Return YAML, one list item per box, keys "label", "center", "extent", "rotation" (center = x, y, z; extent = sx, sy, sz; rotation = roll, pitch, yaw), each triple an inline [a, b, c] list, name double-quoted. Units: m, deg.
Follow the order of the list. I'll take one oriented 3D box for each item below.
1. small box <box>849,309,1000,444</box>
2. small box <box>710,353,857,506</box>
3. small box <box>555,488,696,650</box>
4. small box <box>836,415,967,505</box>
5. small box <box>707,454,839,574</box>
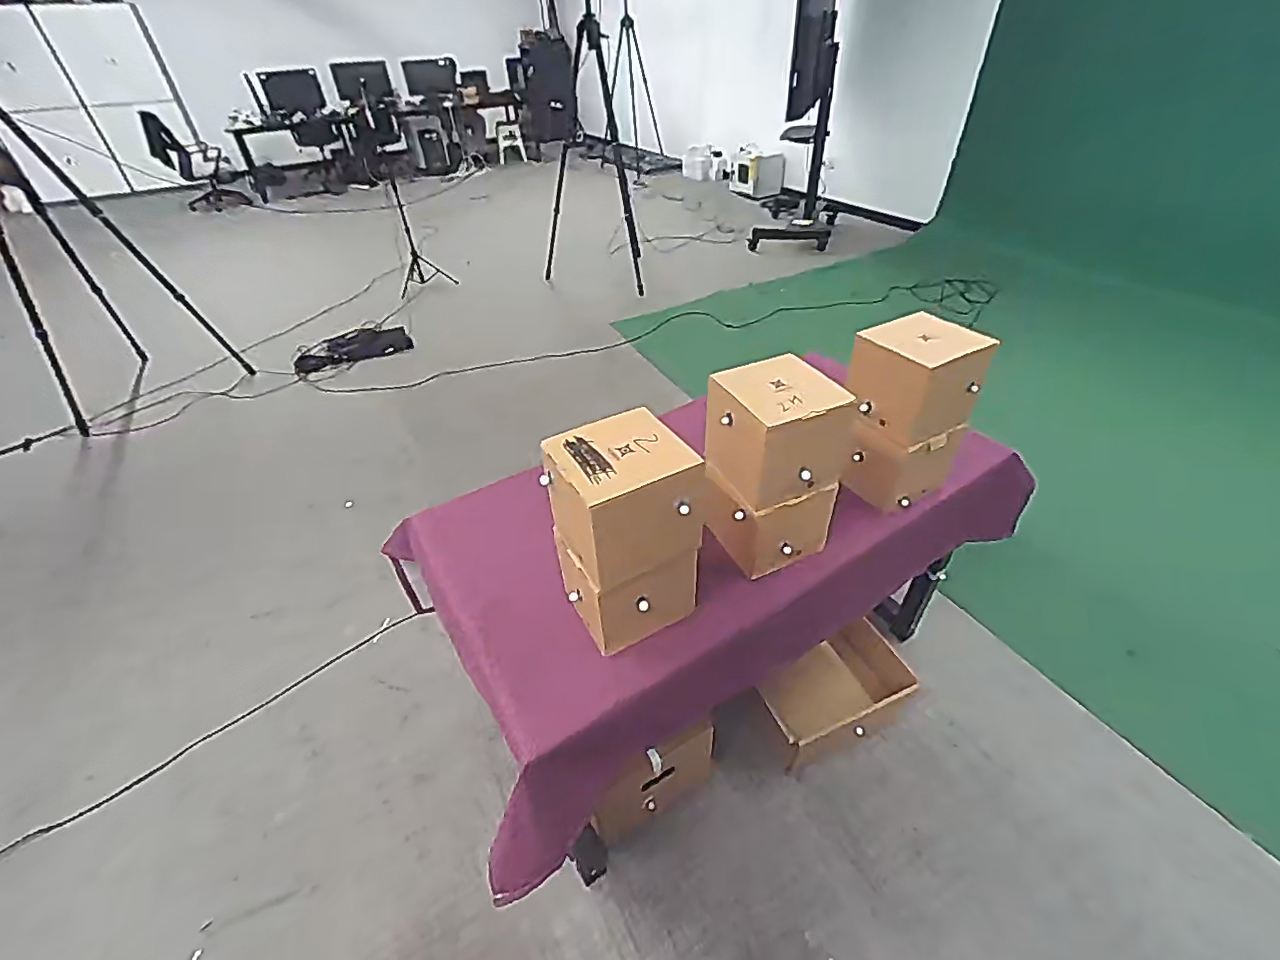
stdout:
- label: "small box"
  center: [0.513, -0.195, 1.010]
  extent: [0.179, 0.176, 0.168]
  rotation: [-22, 43, -19]
- label: "small box"
  center: [0.226, -0.087, 0.908]
  extent: [0.168, 0.176, 0.179]
  rotation: [-18, 44, -15]
- label: "small box"
  center: [-0.020, 0.149, 0.901]
  extent: [0.179, 0.176, 0.168]
  rotation: [-22, 45, -20]
- label: "small box"
  center: [0.519, -0.069, 1.114]
  extent: [0.168, 0.176, 0.179]
  rotation: [-22, 43, -20]
- label: "small box"
  center: [0.236, 0.042, 1.010]
  extent: [0.168, 0.176, 0.179]
  rotation: [-19, 44, -17]
